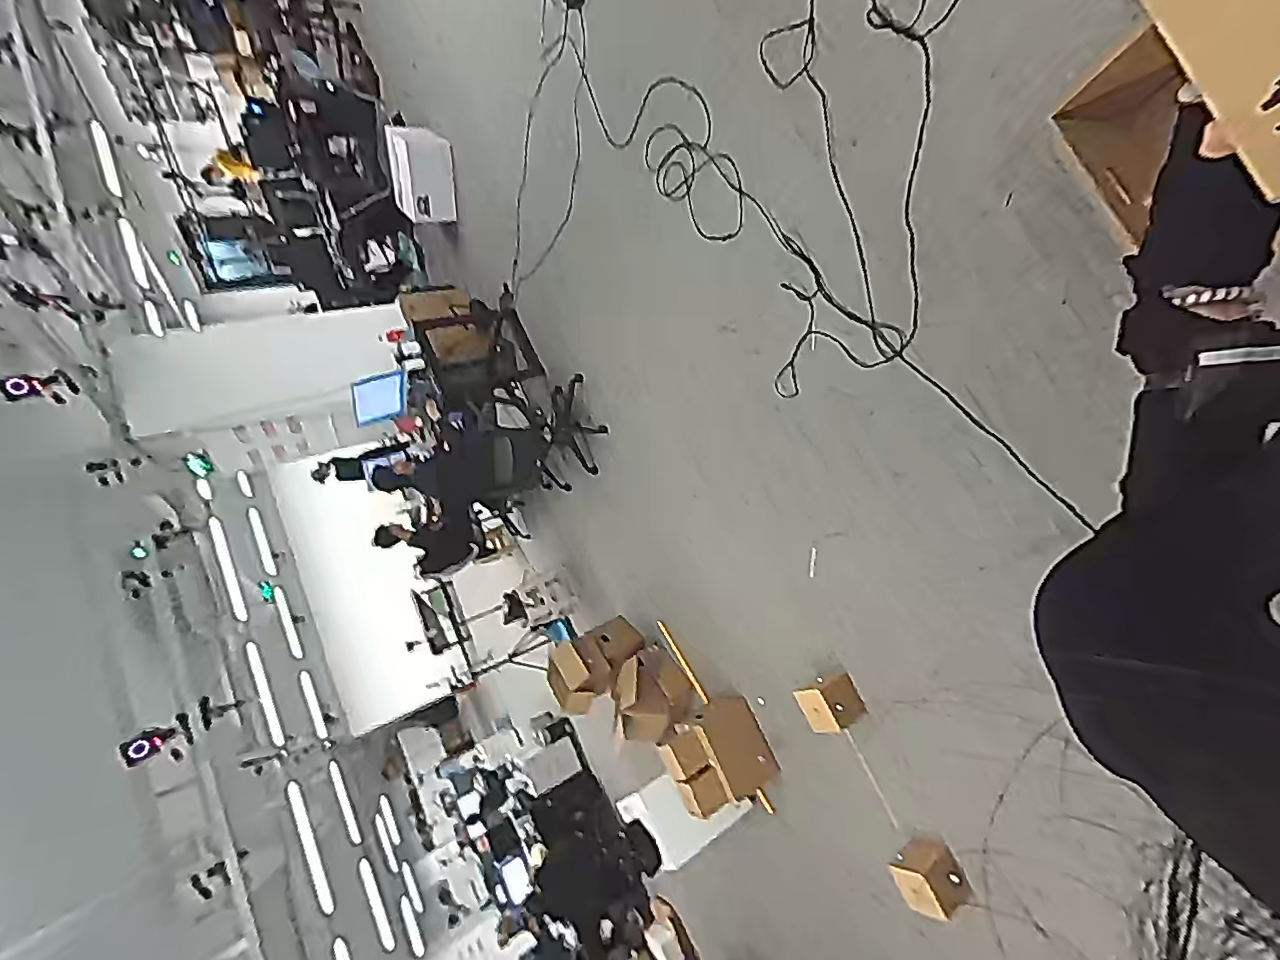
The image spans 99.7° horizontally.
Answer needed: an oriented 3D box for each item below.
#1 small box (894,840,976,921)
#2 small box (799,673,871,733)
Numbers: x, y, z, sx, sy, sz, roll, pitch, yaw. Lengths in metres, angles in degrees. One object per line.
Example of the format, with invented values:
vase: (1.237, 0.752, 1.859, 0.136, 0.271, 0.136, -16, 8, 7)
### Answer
small box: (1.101, 1.482, 2.017, 0.168, 0.176, 0.179, 62, 150, 13)
small box: (0.789, 0.895, 2.184, 0.179, 0.176, 0.168, 62, 150, 13)
